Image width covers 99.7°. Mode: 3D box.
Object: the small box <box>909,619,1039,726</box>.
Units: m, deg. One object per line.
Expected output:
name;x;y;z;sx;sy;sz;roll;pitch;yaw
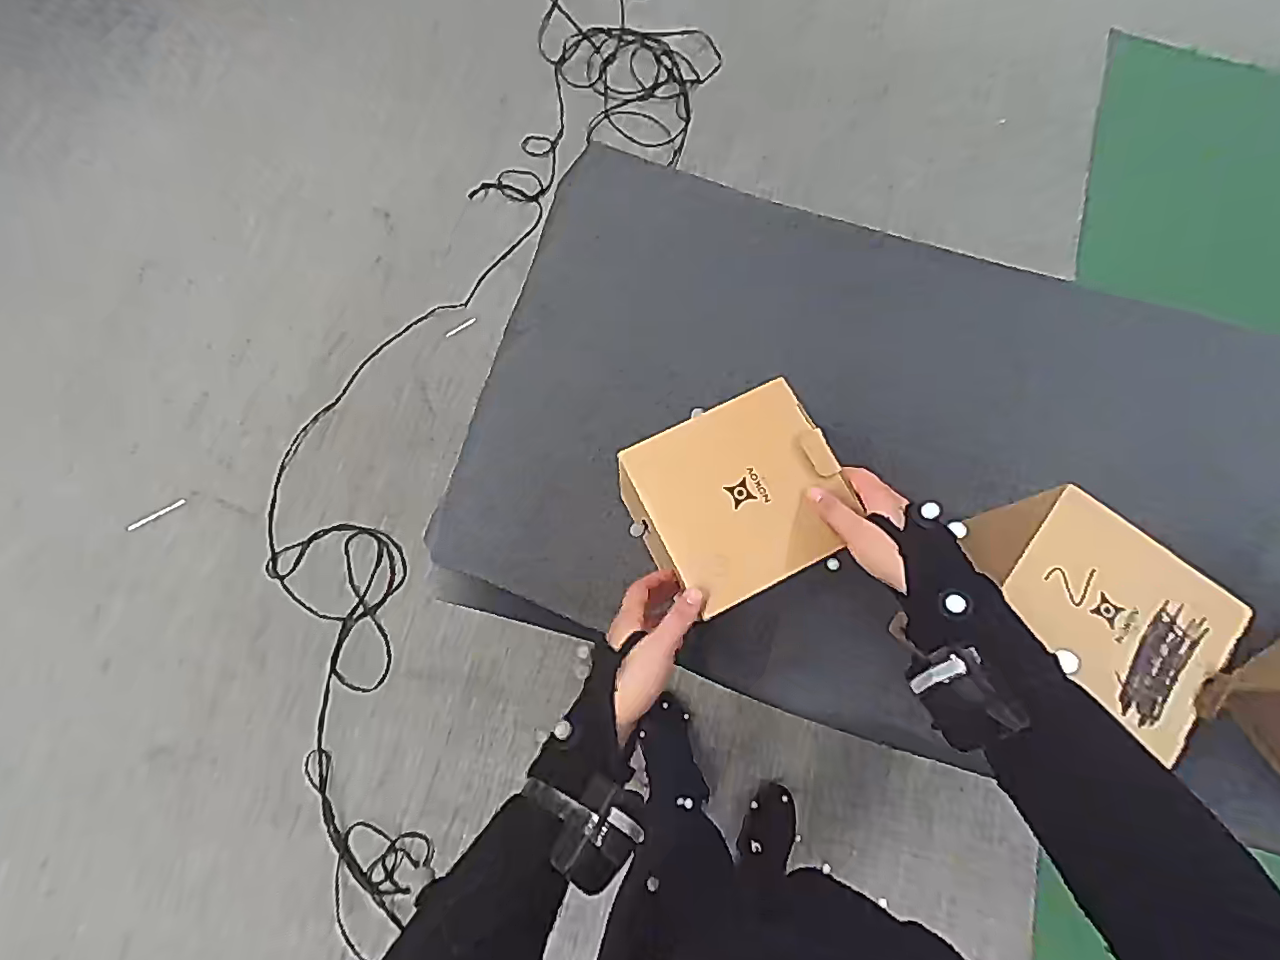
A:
small box;0.733;0.422;1.205;0.179;0.176;0.168;21;76;4

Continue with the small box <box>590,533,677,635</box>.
small box;0.004;0.245;1.245;0.179;0.176;0.168;27;76;6

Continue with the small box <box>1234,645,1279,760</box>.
small box;0.731;0.231;0.497;0.179;0.176;0.168;-27;74;-8

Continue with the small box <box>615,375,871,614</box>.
small box;0.089;0.028;0.551;0.179;0.176;0.168;-25;78;-7
